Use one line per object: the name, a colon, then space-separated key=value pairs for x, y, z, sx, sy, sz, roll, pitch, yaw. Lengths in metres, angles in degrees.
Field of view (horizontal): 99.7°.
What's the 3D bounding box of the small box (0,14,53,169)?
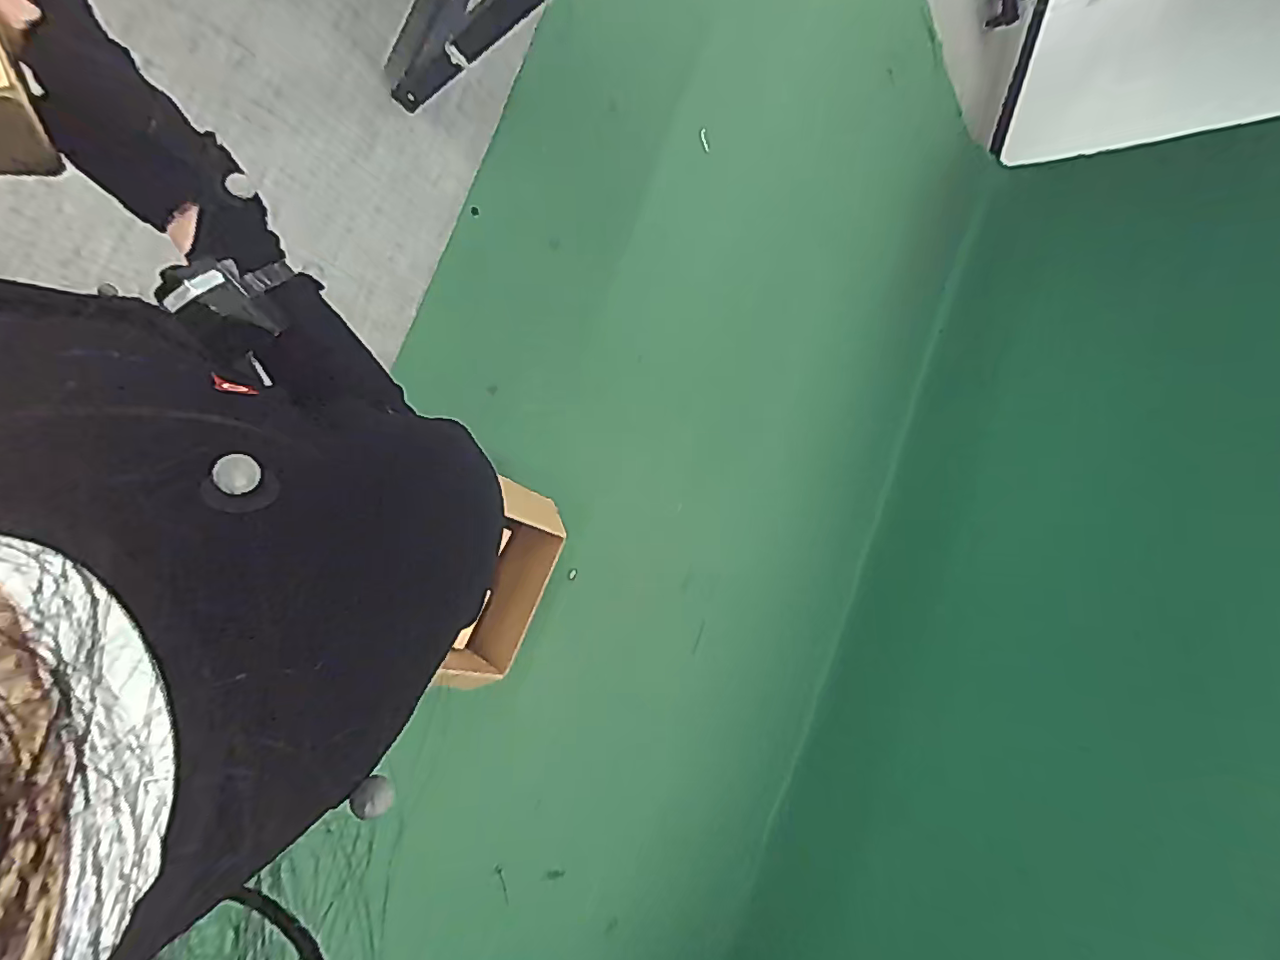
small box: x=-0.416 y=-0.255 z=0.238 sx=0.168 sy=0.176 sz=0.179 roll=-24 pitch=118 yaw=-36
